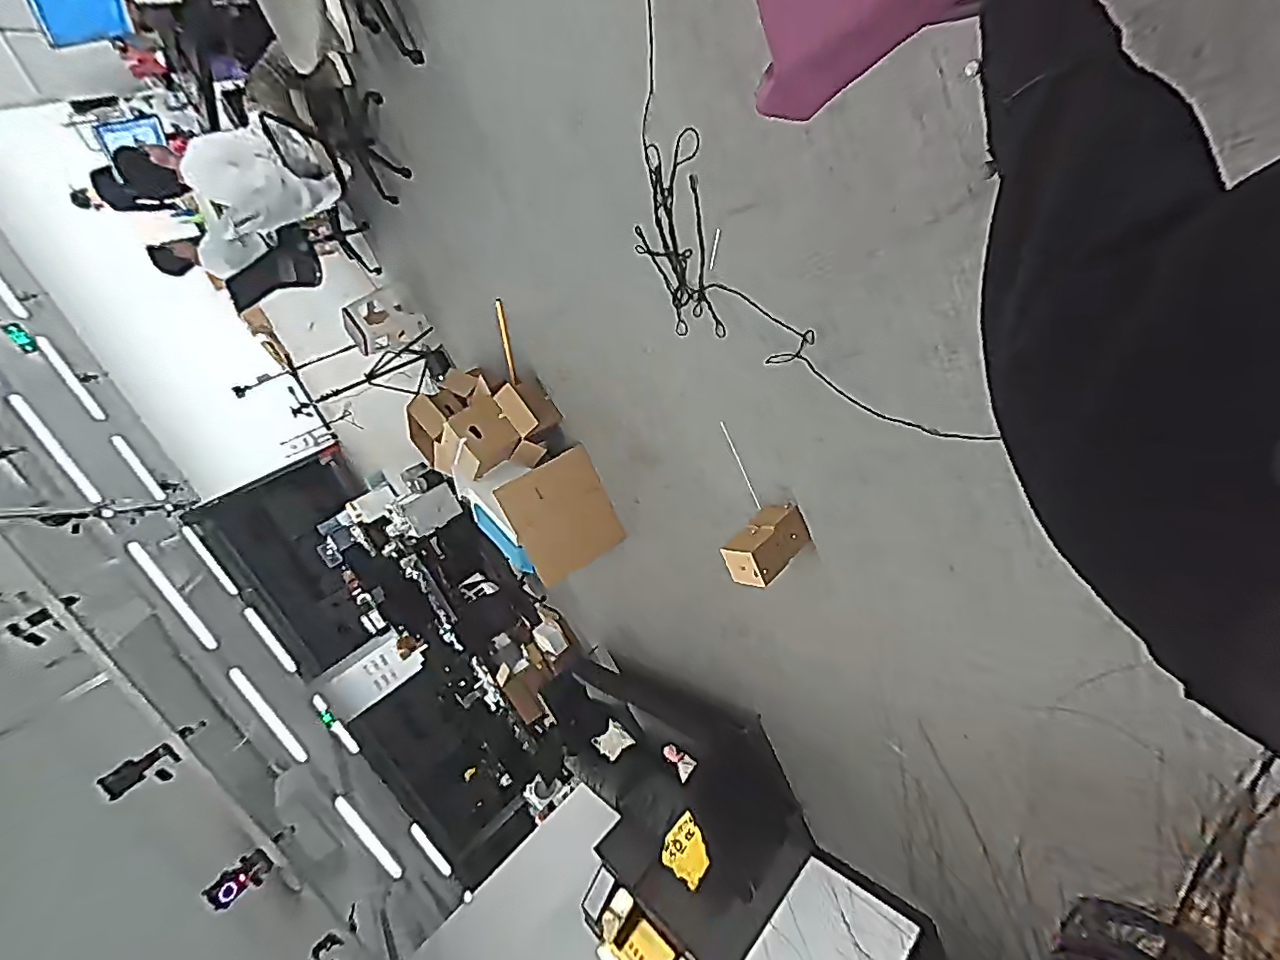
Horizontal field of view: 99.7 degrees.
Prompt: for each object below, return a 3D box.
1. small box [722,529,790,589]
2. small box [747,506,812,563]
[{"bbox_3d":[0.470,0.311,2.174,0.179,0.176,0.168,0,121,56],"label":"small box"},{"bbox_3d":[0.583,0.223,2.254,0.168,0.176,0.179,-2,119,56],"label":"small box"}]
